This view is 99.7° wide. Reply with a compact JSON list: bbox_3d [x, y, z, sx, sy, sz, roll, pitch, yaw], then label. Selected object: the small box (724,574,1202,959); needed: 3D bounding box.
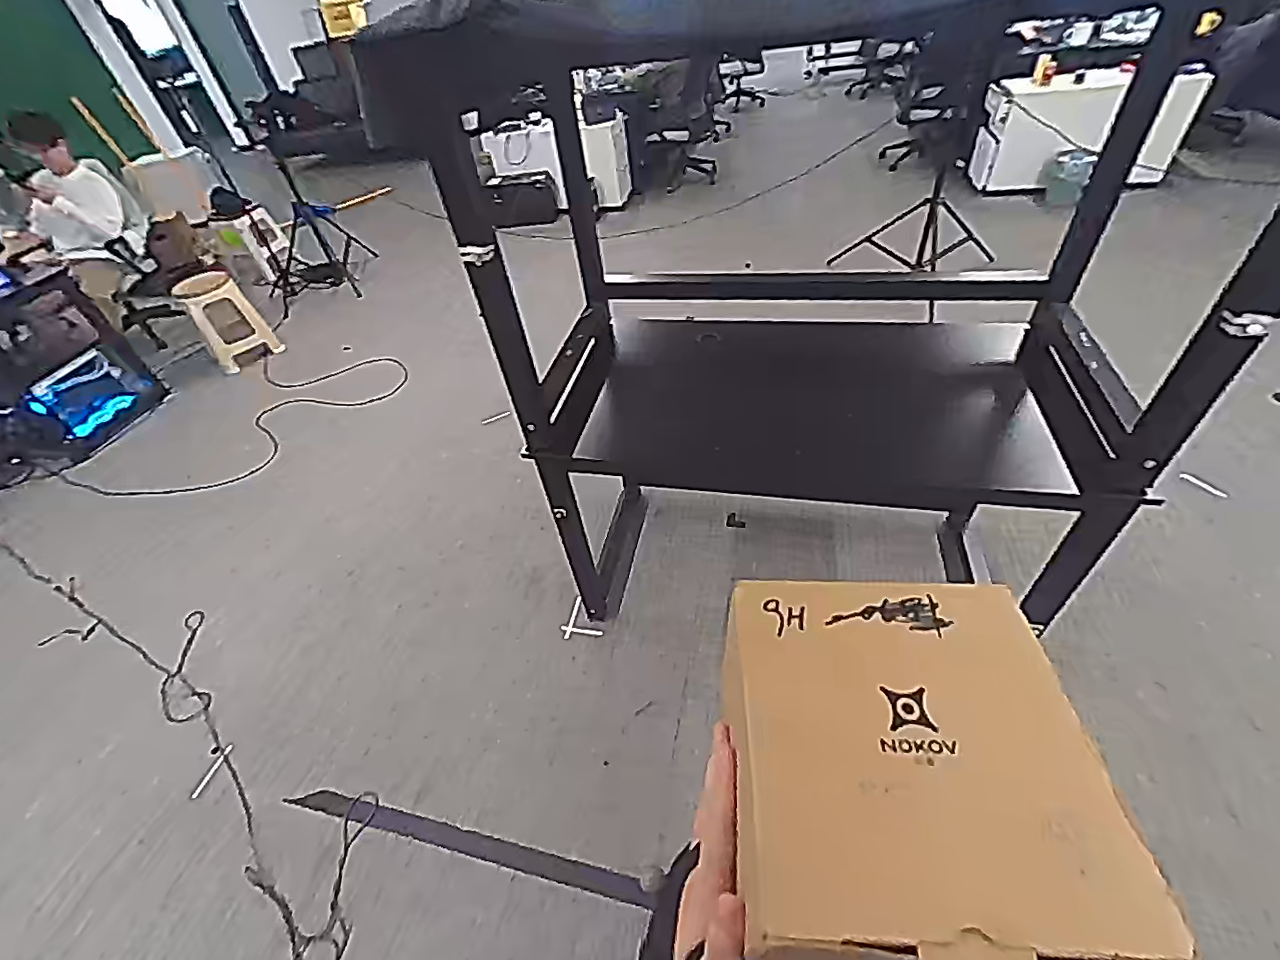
[{"bbox_3d":[0.140,0.177,0.322,0.168,0.176,0.179,1,45,4],"label":"small box"}]
